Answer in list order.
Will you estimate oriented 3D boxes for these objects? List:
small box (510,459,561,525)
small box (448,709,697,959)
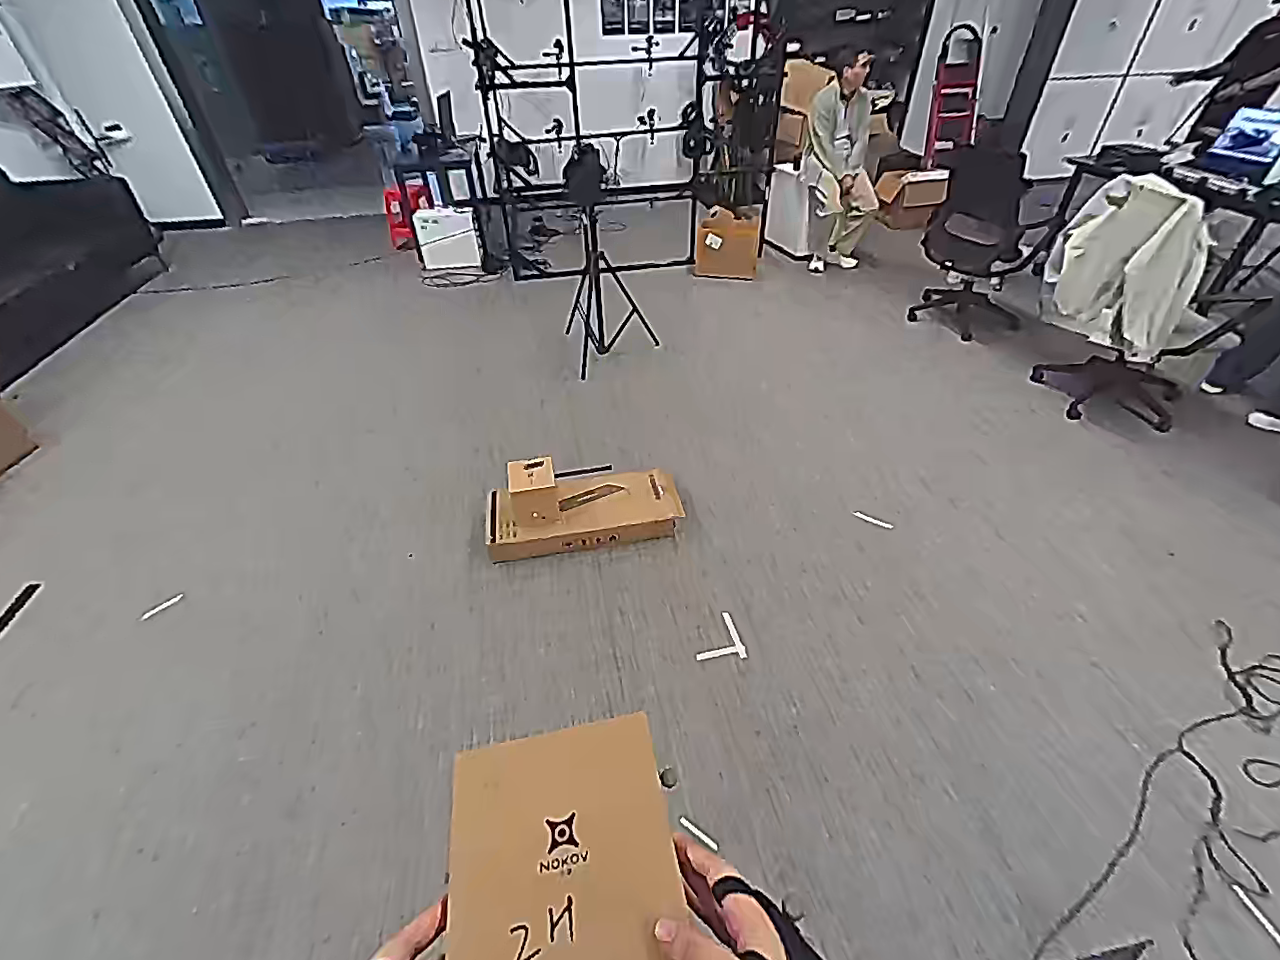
[{"bbox_3d":[-0.391,0.045,2.026,0.168,0.176,0.179,-9,41,-8],"label":"small box"},{"bbox_3d":[-0.055,0.331,0.461,0.168,0.176,0.179,-10,42,-7],"label":"small box"}]
